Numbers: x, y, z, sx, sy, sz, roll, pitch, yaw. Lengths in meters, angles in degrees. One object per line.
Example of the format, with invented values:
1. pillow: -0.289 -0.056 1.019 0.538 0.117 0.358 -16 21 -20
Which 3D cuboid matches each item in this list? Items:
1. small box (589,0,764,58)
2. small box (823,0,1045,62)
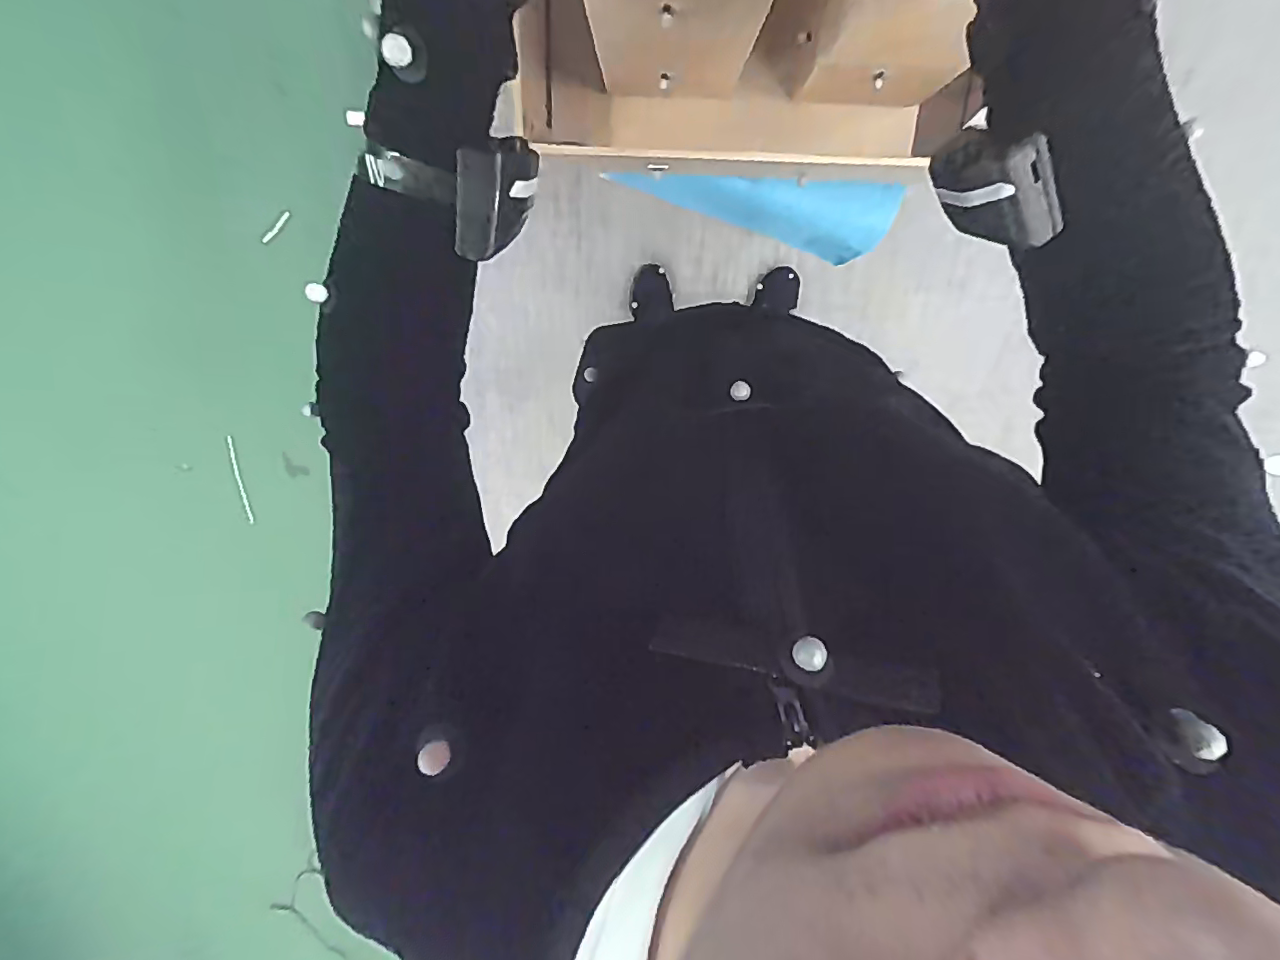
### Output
1. small box: 0.038 -0.532 0.516 0.179 0.176 0.168 2 111 0
2. small box: 0.286 -0.521 0.507 0.179 0.176 0.168 5 112 3
